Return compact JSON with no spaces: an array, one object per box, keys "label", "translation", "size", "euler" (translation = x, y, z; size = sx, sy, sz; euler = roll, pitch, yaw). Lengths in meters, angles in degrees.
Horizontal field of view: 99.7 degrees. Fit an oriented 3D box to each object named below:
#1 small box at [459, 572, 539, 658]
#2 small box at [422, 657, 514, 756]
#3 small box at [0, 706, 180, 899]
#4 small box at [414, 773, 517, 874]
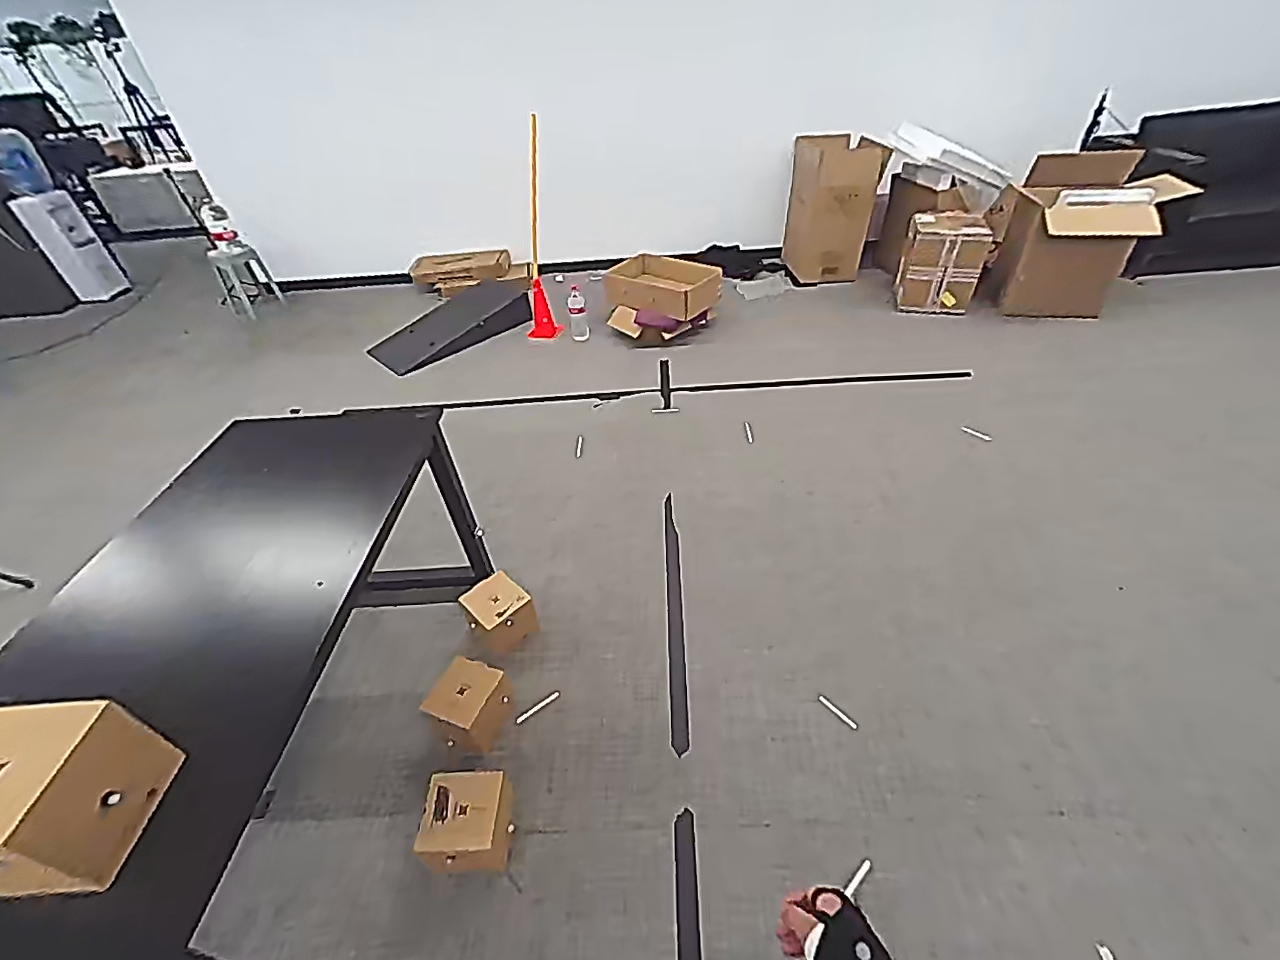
[{"label":"small box","translation":[-0.451,0.439,1.751],"size":[0.179,0.176,0.168],"euler":[29,51,34]},{"label":"small box","translation":[-0.474,0.639,1.524],"size":[0.168,0.176,0.179],"euler":[11,44,19]},{"label":"small box","translation":[-0.757,0.411,0.689],"size":[0.179,0.176,0.168],"euler":[-5,40,1]},{"label":"small box","translation":[-0.408,0.825,1.296],"size":[0.179,0.176,0.168],"euler":[-2,41,1]}]
